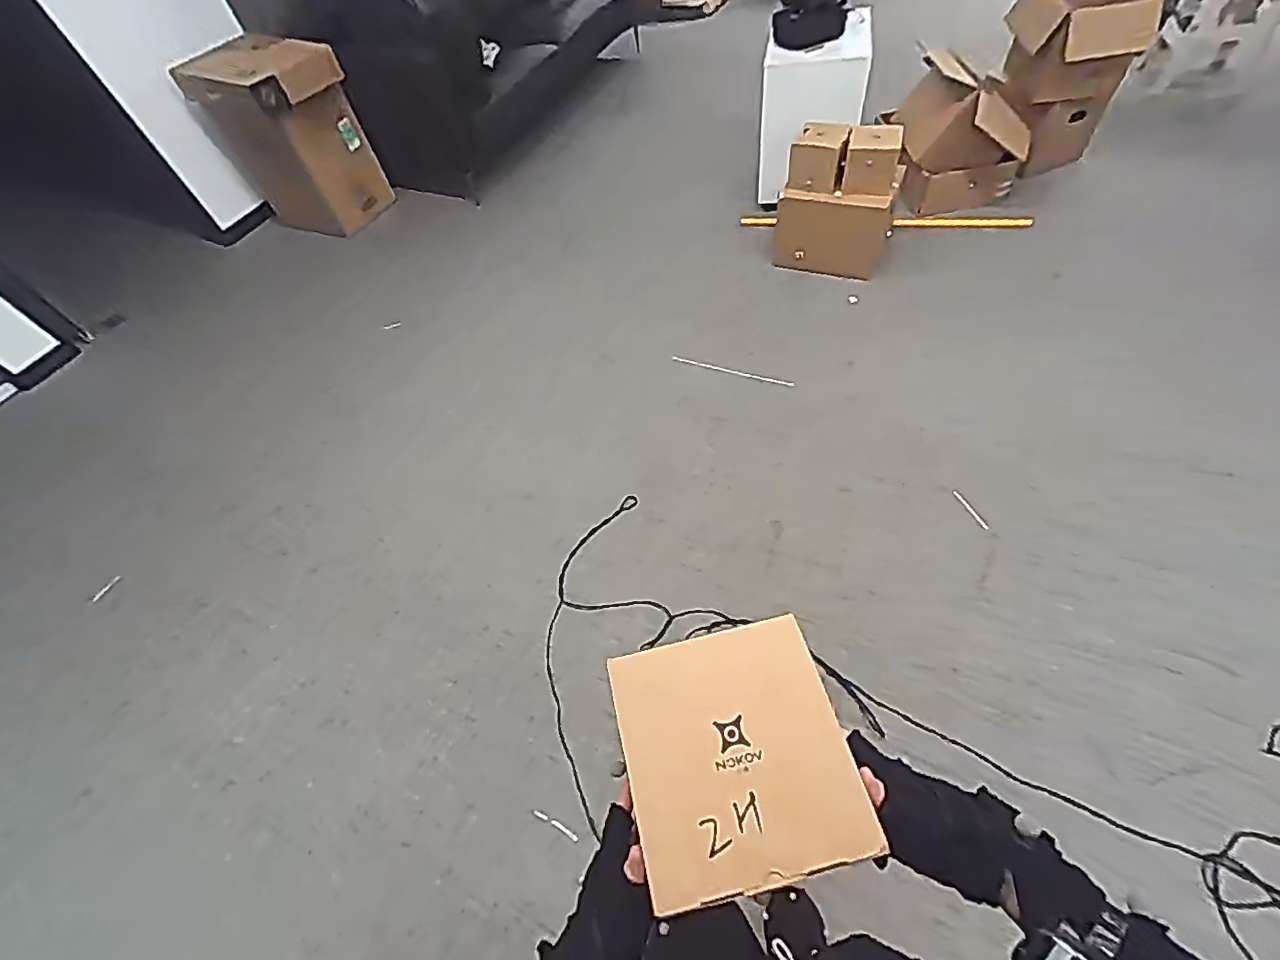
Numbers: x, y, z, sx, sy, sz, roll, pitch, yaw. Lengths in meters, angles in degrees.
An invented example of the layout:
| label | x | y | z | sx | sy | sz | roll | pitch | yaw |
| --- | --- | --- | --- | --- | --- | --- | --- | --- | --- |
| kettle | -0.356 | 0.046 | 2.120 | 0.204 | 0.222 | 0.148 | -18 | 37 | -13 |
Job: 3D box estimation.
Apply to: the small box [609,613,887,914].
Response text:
| label | x | y | z | sx | sy | sz | roll | pitch | yaw |
| --- | --- | --- | --- | --- | --- | --- | --- | --- | --- |
| small box | 0.074 | 0.242 | 0.467 | 0.168 | 0.176 | 0.179 | -13 | 56 | -4 |
